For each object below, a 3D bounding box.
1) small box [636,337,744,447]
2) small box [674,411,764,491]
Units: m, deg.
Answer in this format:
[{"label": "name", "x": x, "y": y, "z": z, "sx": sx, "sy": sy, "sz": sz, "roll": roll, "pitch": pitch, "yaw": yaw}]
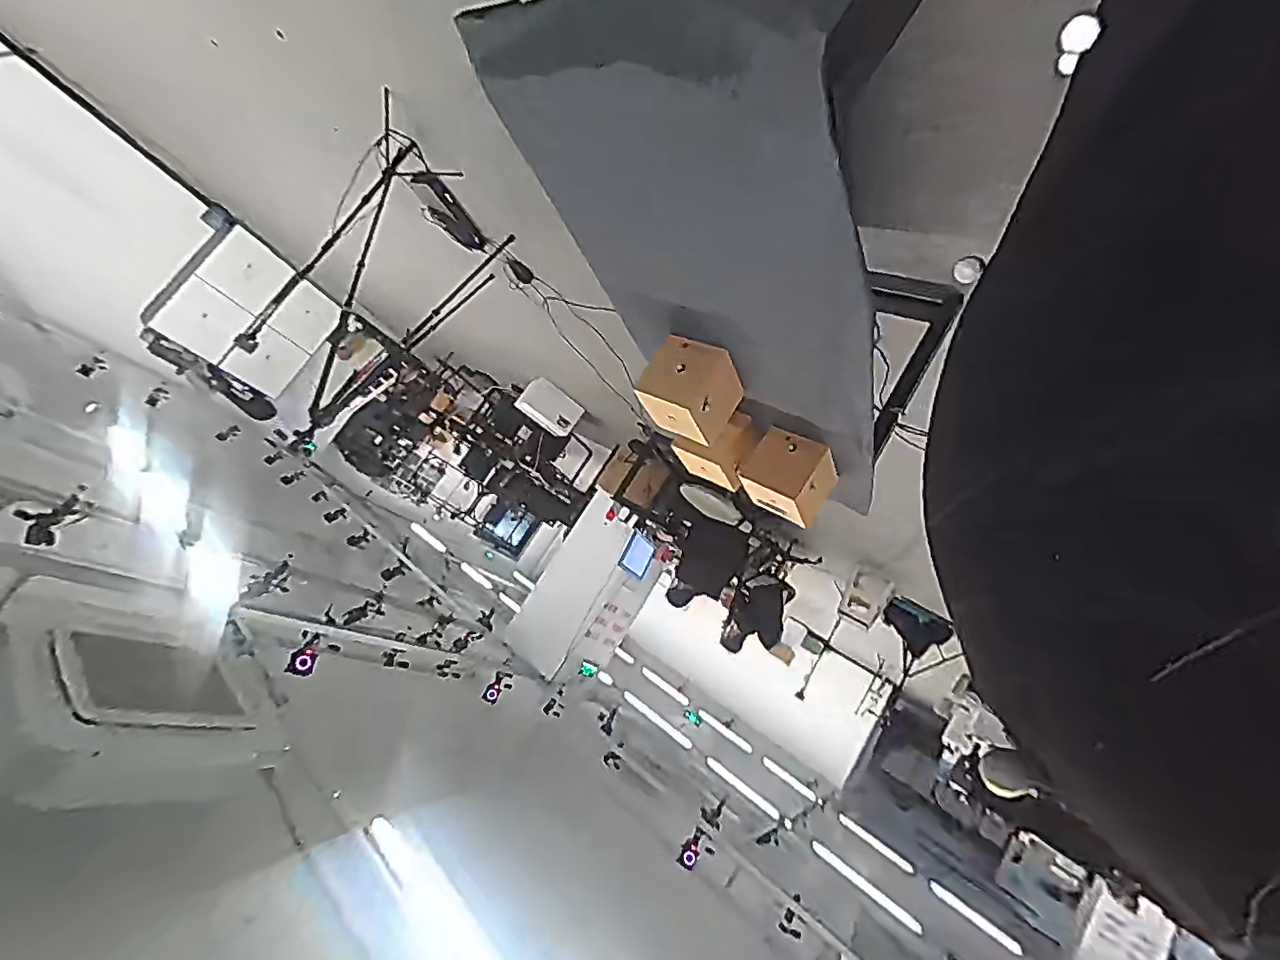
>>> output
[{"label": "small box", "x": 0.125, "y": -0.212, "z": 1.286, "sx": 0.168, "sy": 0.176, "sz": 0.179, "roll": 27, "pitch": 169, "yaw": 33}, {"label": "small box", "x": 0.229, "y": -0.100, "z": 1.528, "sx": 0.168, "sy": 0.176, "sz": 0.179, "roll": 26, "pitch": 169, "yaw": 34}]
